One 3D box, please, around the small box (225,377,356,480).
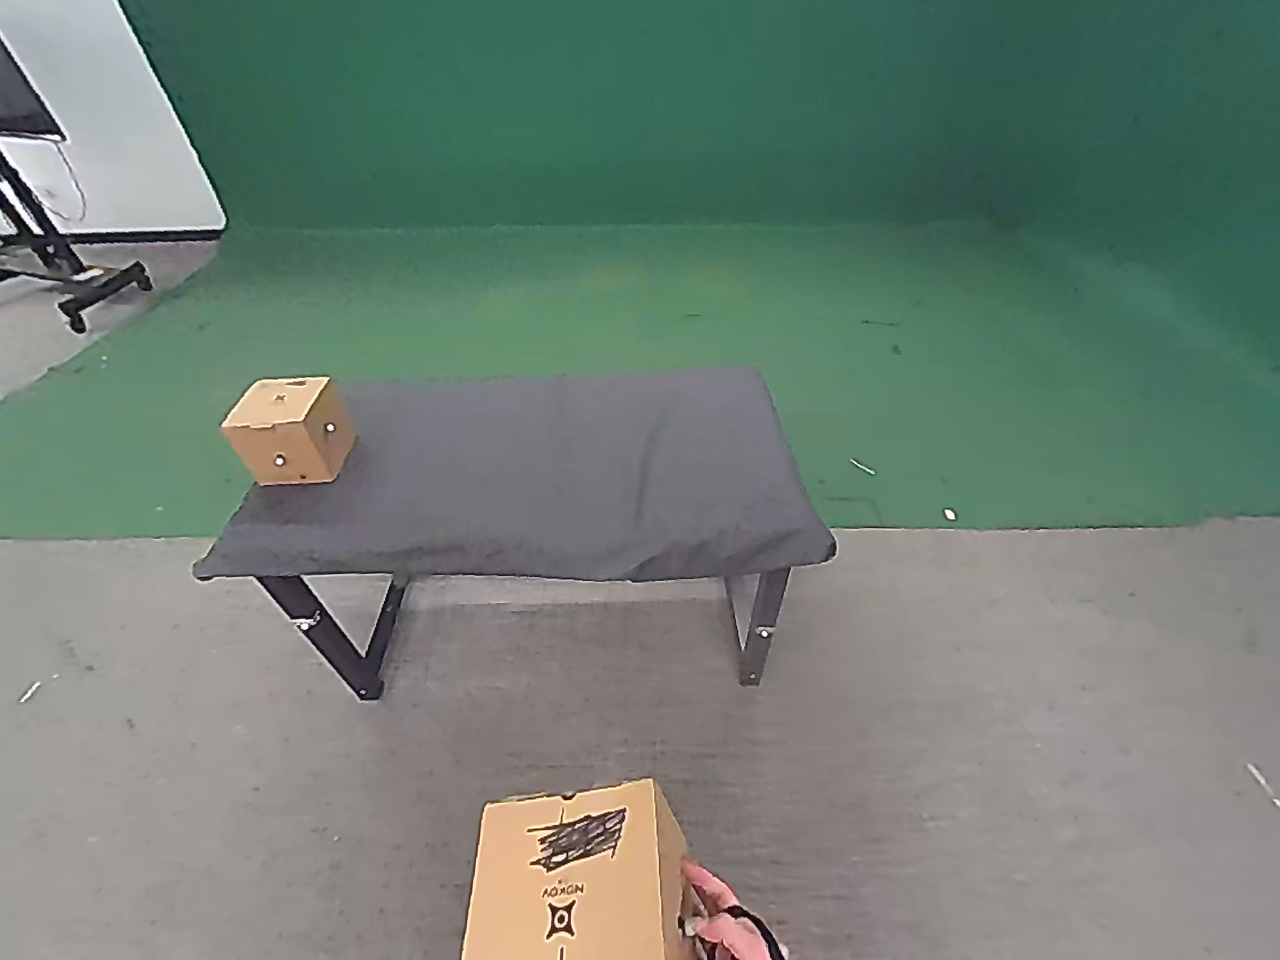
[{"bbox_3d":[-0.770,-0.111,1.217,0.168,0.176,0.179,-2,45,-3],"label":"small box"}]
